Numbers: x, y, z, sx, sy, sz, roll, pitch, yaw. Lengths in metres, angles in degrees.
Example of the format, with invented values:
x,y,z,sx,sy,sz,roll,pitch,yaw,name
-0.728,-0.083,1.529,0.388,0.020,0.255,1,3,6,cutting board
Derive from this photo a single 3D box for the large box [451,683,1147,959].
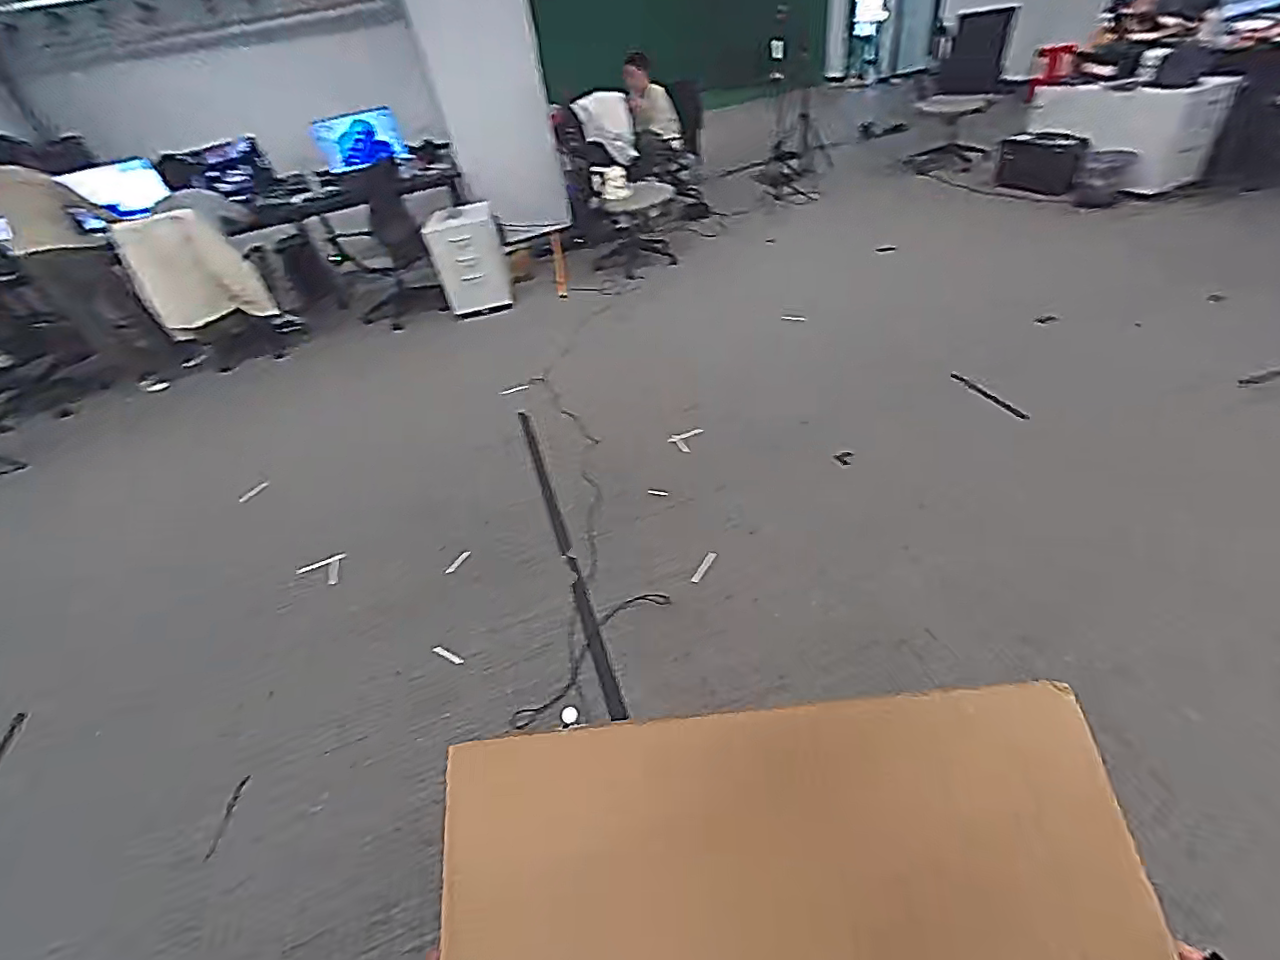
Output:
x,y,z,sx,sy,sz,roll,pitch,yaw,name
0.099,0.361,0.439,0.408,0.320,0.320,-8,67,4,large box
